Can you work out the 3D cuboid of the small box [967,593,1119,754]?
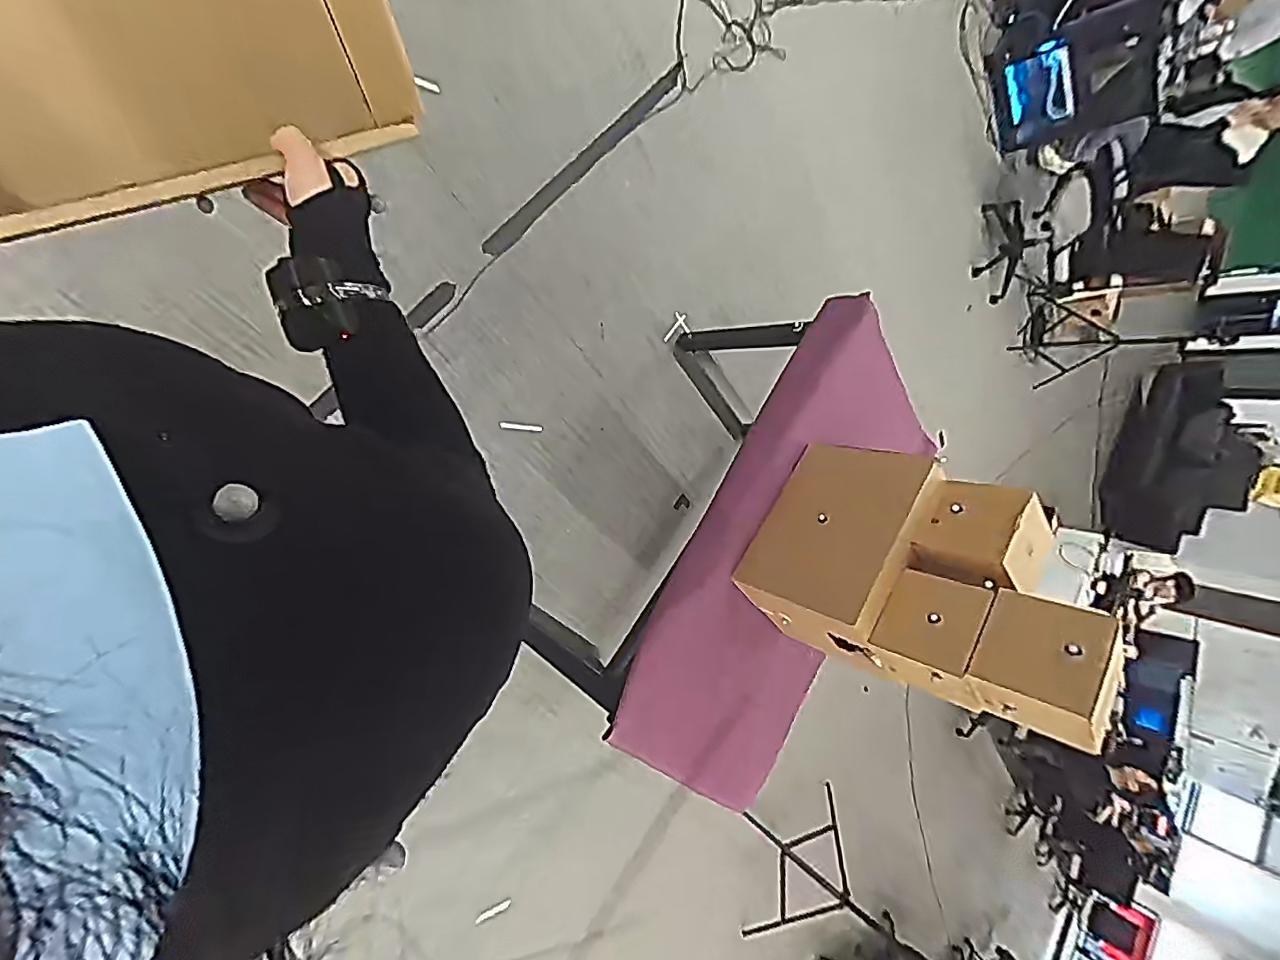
[{"bbox_3d":[0.682,0.317,0.917,0.179,0.176,0.168,-55,127,-18],"label":"small box"}]
